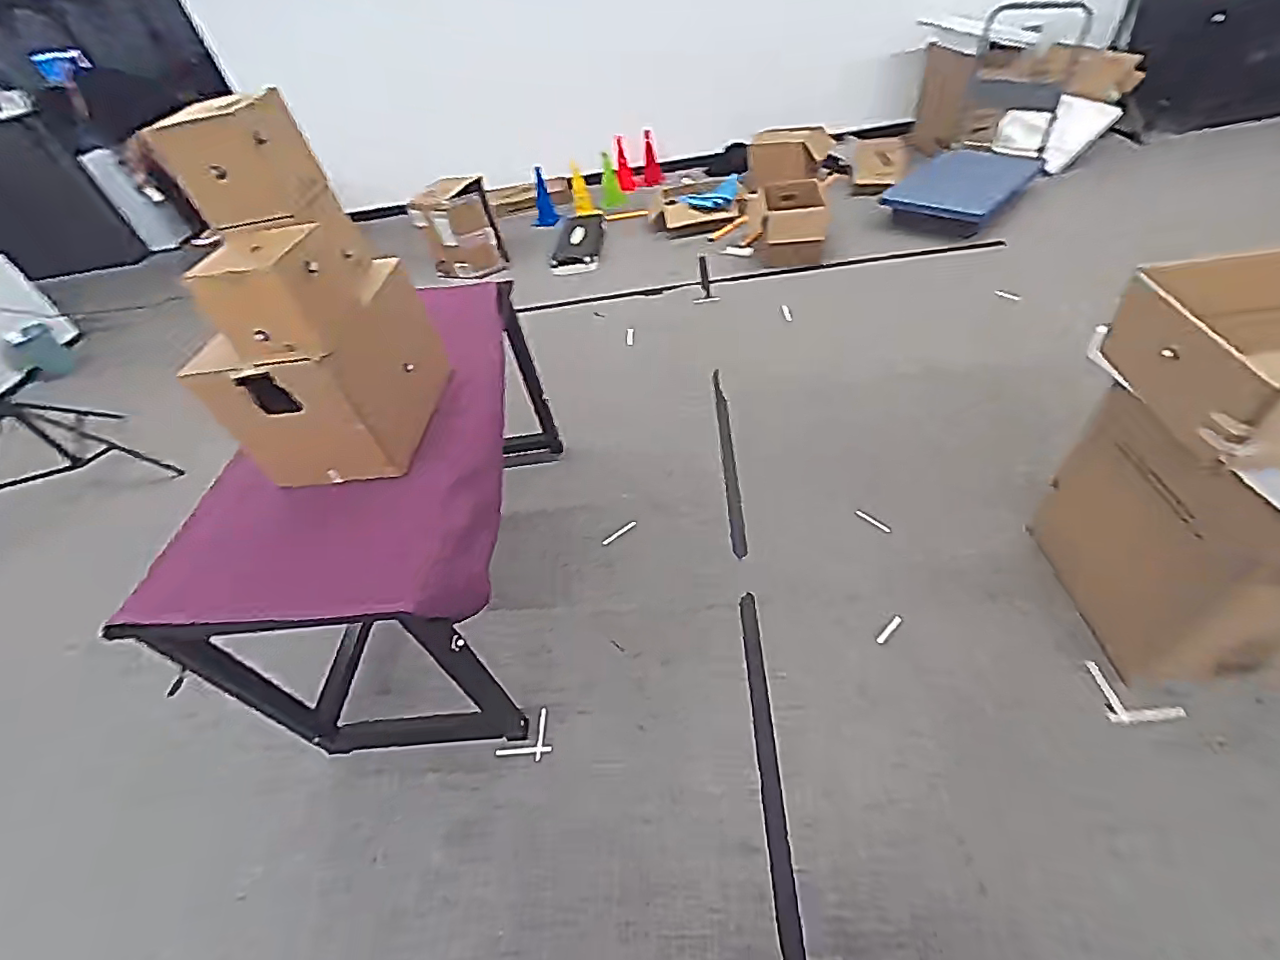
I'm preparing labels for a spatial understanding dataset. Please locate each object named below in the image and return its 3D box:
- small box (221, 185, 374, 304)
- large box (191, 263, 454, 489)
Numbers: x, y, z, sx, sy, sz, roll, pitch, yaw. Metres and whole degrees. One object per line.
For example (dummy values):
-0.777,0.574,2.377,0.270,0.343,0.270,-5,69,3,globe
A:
-0.702,-0.486,1.130,0.179,0.176,0.168,-6,48,7,small box
-0.667,-0.237,1.230,0.320,0.320,0.408,-6,47,8,large box
